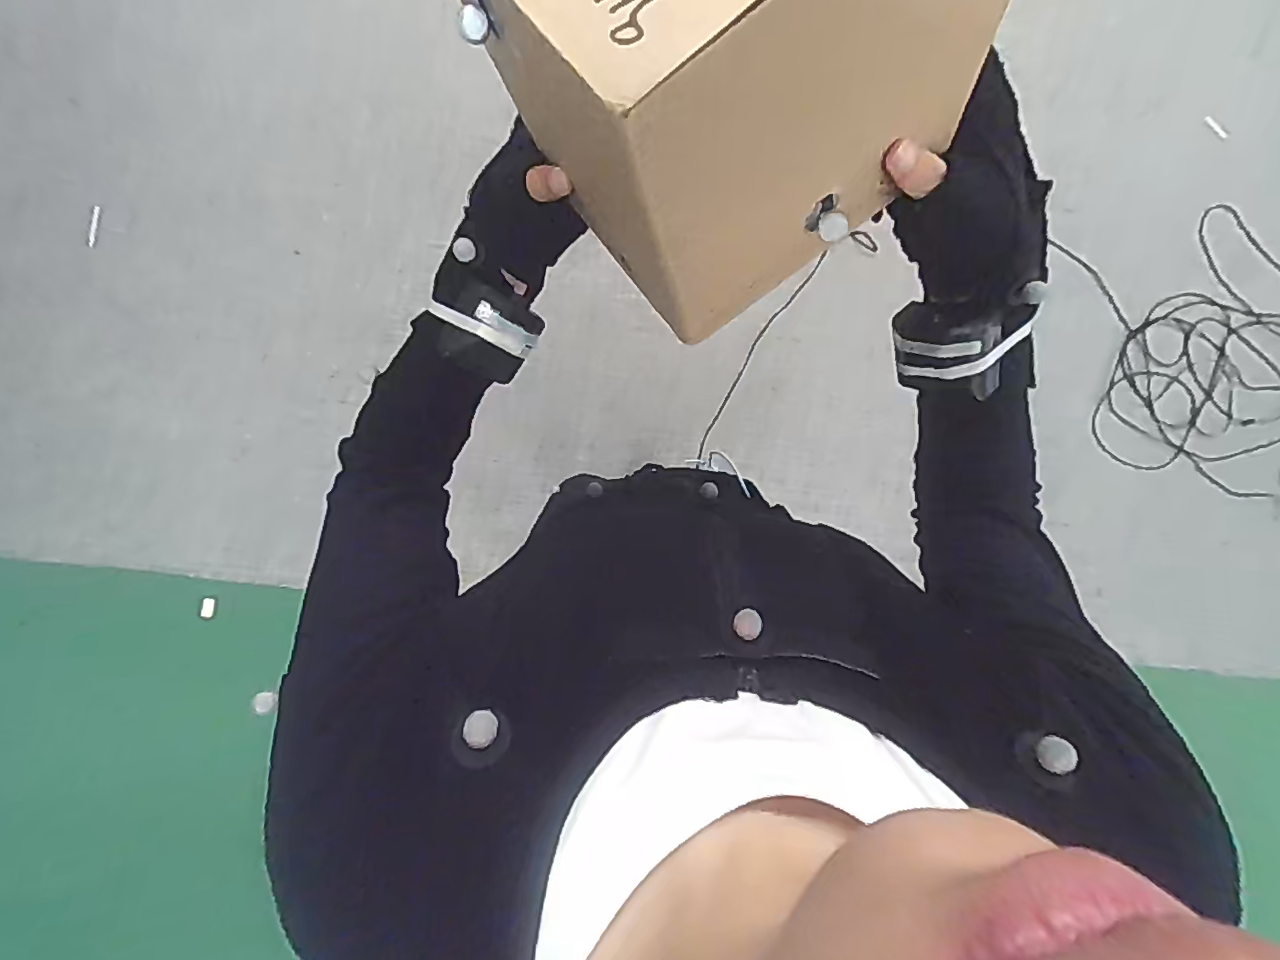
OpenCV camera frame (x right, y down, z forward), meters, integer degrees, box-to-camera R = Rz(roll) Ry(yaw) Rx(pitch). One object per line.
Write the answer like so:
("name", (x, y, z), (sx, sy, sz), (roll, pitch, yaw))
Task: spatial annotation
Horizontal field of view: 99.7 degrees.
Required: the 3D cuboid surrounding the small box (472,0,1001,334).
("small box", (0.036, -0.206, 0.249), (0.179, 0.176, 0.168), (-36, 73, 4))
